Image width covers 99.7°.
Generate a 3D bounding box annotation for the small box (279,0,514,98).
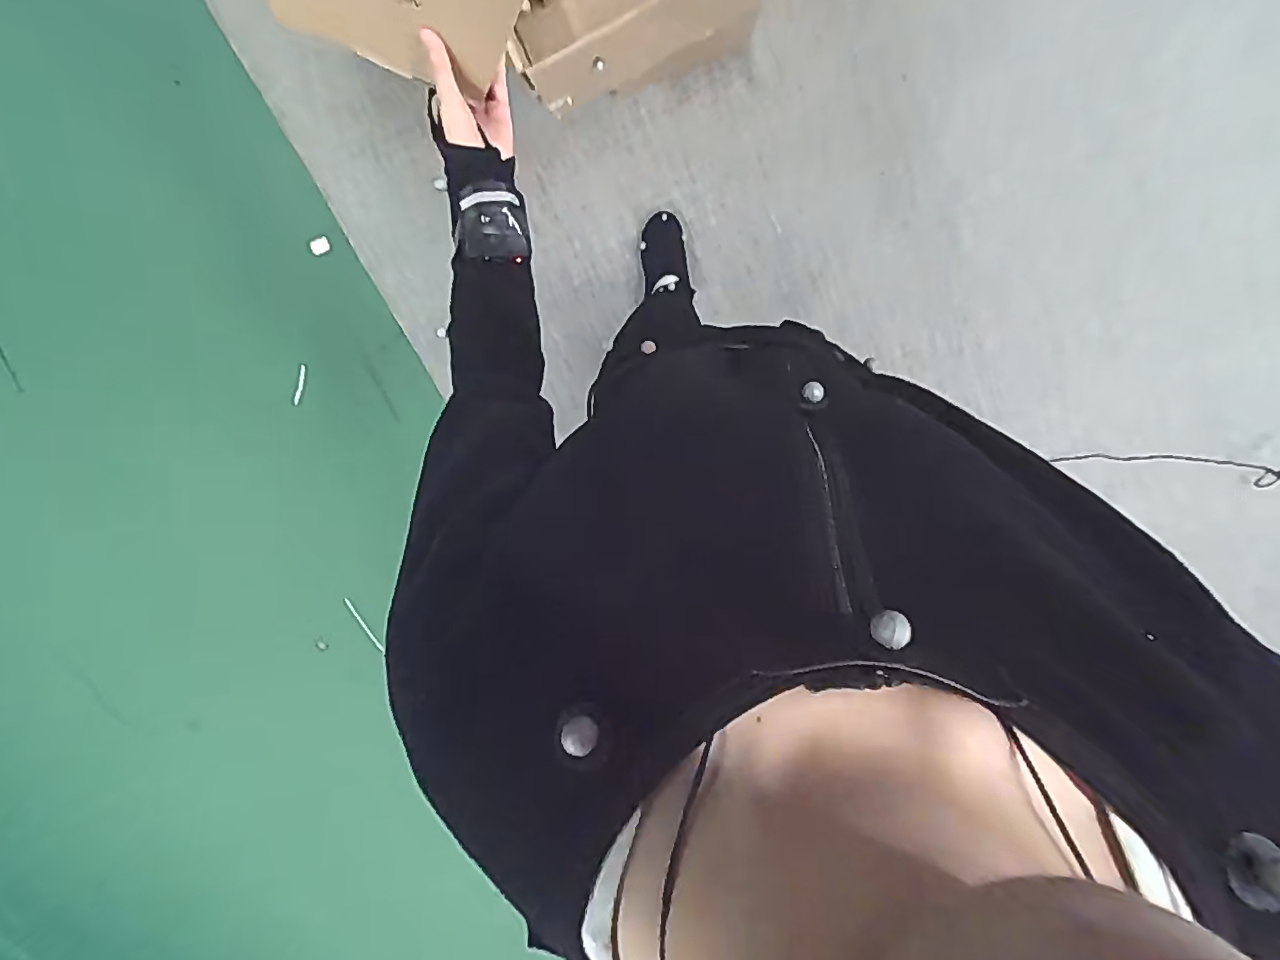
[{"bbox_3d":[-0.170,-0.450,0.396,0.168,0.179,0.176,9,78,-32],"label":"small box"}]
